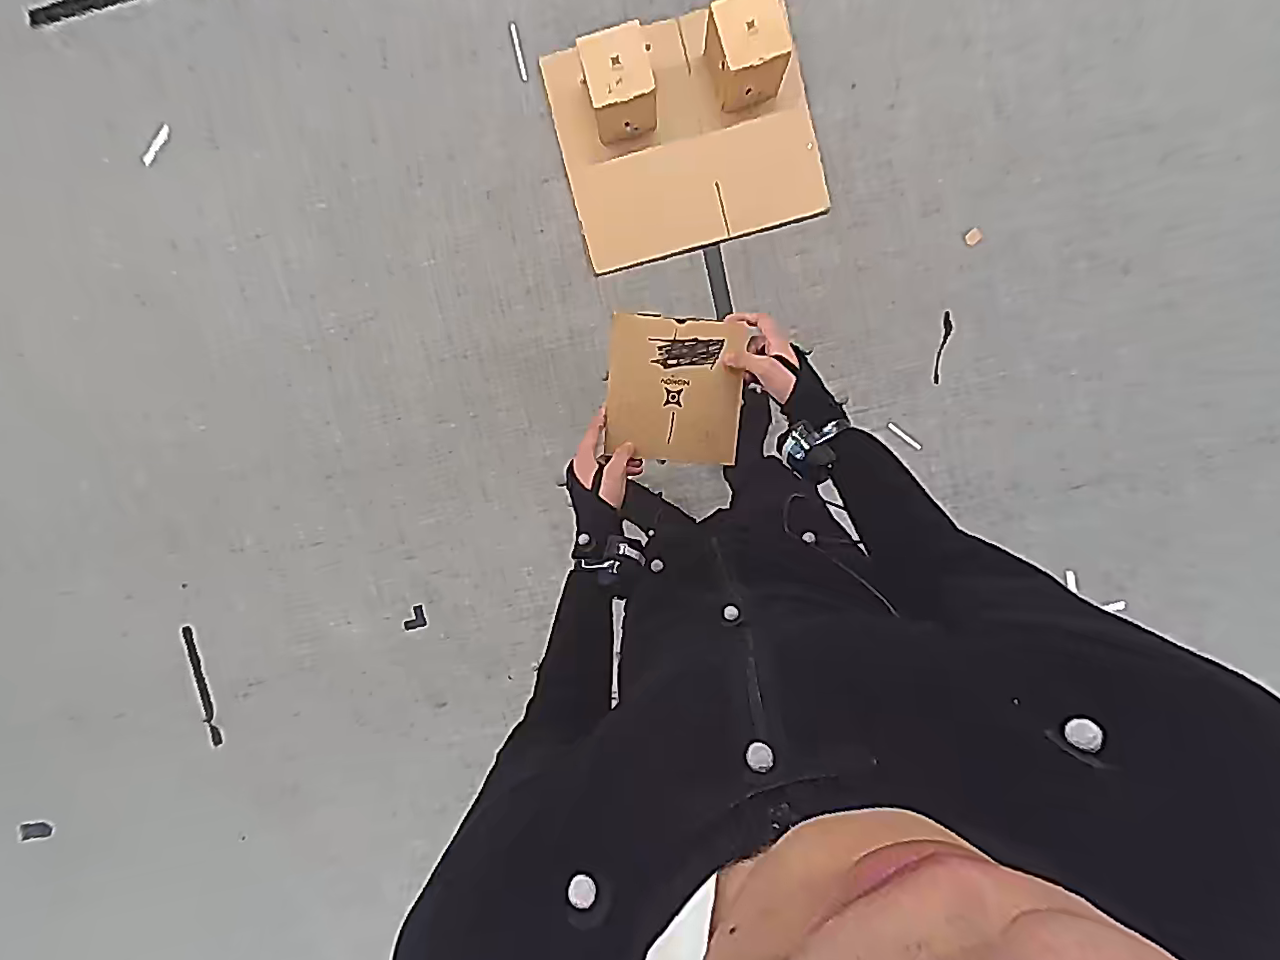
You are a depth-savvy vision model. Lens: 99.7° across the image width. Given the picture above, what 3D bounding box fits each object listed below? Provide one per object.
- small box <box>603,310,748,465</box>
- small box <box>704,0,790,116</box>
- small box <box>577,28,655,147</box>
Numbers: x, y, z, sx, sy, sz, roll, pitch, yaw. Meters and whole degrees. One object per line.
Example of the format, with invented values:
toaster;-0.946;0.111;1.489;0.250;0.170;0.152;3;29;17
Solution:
small box;0.043;-0.121;0.736;0.168;0.176;0.179;5;98;1
small box;0.274;-1.117;1.428;0.168;0.176;0.179;-18;94;3
small box;-0.059;-1.032;1.436;0.168;0.176;0.179;-15;95;4
